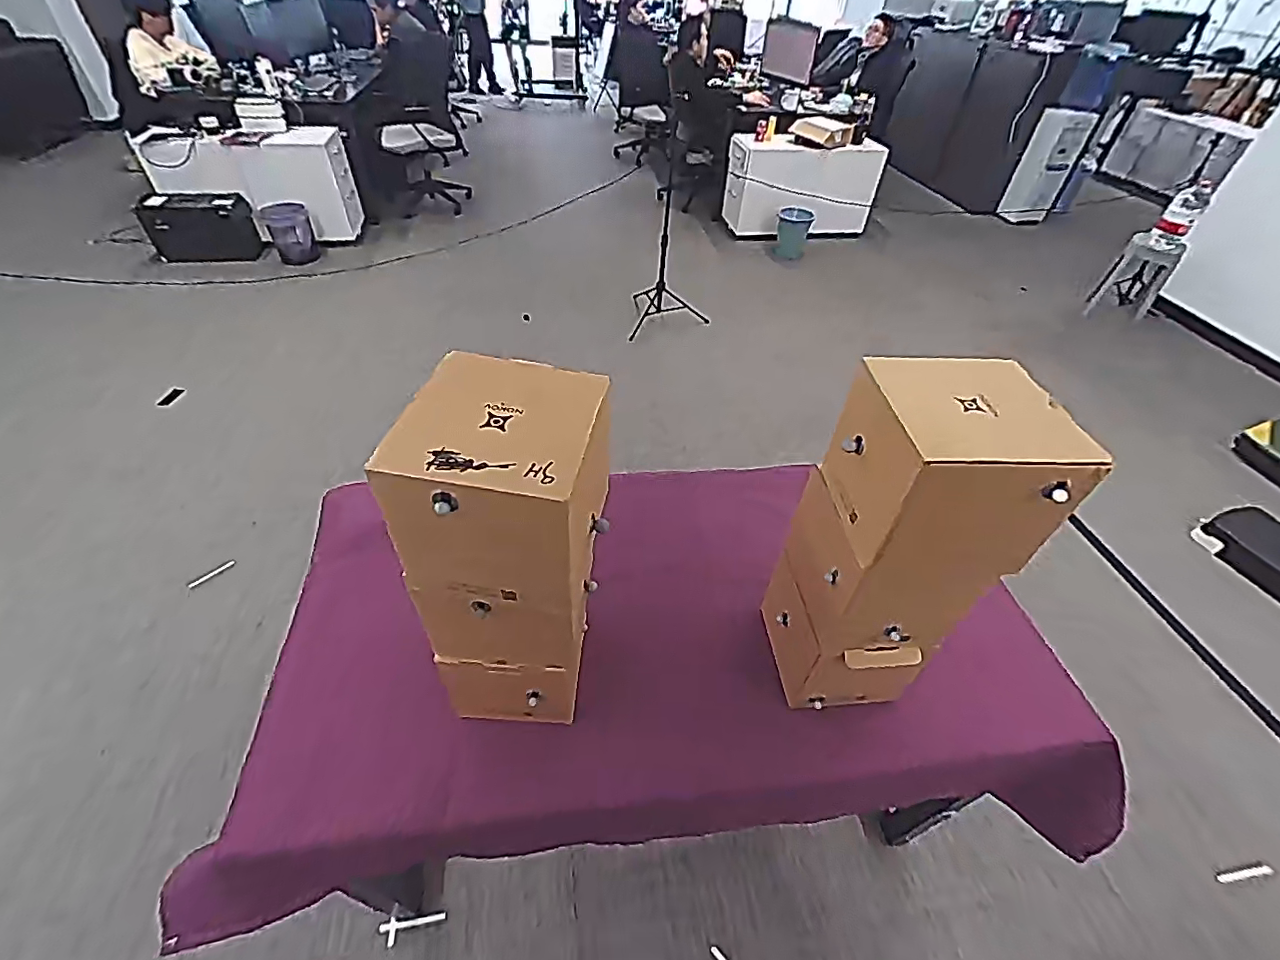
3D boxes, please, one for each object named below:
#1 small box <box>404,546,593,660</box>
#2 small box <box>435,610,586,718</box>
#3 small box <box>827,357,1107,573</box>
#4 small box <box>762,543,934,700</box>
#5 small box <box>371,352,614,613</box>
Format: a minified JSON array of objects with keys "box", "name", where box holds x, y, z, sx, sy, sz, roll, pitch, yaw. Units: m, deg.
[{"box":[-0.154,0.103,0.660,0.179,0.176,0.168,6,46,0],"name":"small box"},{"box":[-0.169,0.220,0.773,0.168,0.176,0.179,5,44,0],"name":"small box"},{"box":[0.317,-0.014,0.578,0.179,0.176,0.168,1,45,-4],"name":"small box"},{"box":[0.294,0.215,0.809,0.168,0.176,0.179,-2,44,-6],"name":"small box"},{"box":[-0.126,0.002,0.531,0.168,0.176,0.179,9,45,4],"name":"small box"}]
